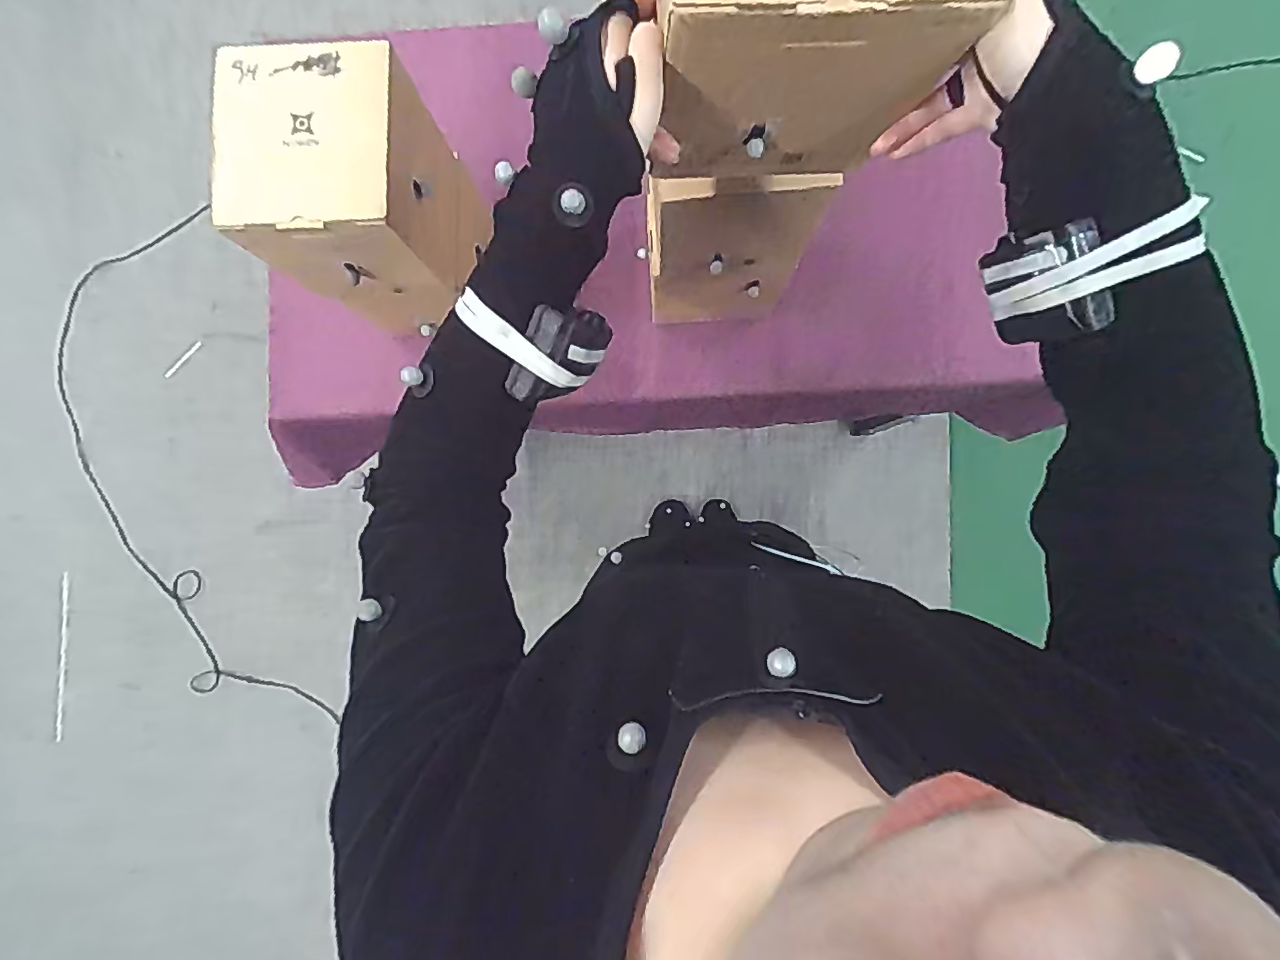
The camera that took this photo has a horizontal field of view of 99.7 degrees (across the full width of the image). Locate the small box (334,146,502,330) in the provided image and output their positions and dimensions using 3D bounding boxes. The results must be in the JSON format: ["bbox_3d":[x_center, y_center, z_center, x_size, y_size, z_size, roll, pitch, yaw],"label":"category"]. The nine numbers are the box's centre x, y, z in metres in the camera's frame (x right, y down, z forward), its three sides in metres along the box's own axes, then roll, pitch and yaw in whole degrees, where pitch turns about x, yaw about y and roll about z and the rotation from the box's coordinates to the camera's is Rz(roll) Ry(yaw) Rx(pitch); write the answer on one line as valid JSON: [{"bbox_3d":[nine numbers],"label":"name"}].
[{"bbox_3d":[-0.295,-0.320,0.743,0.168,0.176,0.179,-2,88,2],"label":"small box"}]

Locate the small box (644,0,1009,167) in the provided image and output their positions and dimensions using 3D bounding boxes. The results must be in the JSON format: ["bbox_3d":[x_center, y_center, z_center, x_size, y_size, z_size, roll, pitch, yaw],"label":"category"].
[{"bbox_3d":[0.089,-0.318,0.325,0.168,0.176,0.179,-4,98,-2],"label":"small box"}]

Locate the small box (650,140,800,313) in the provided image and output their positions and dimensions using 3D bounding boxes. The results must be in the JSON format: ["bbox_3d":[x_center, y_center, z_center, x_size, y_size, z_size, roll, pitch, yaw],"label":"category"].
[{"bbox_3d":[0.104,-0.336,0.729,0.179,0.176,0.168,-3,87,2],"label":"small box"}]

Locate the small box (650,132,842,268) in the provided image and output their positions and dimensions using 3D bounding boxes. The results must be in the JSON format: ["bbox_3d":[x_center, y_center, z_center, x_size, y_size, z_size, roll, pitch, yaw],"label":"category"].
[{"bbox_3d":[0.096,-0.347,0.566,0.168,0.176,0.179,-4,88,3],"label":"small box"}]

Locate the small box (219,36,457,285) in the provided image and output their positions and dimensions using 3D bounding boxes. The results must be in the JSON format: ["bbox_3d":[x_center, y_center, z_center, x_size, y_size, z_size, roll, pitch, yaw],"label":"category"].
[{"bbox_3d":[-0.305,-0.320,0.579,0.168,0.176,0.179,-1,88,1],"label":"small box"}]
